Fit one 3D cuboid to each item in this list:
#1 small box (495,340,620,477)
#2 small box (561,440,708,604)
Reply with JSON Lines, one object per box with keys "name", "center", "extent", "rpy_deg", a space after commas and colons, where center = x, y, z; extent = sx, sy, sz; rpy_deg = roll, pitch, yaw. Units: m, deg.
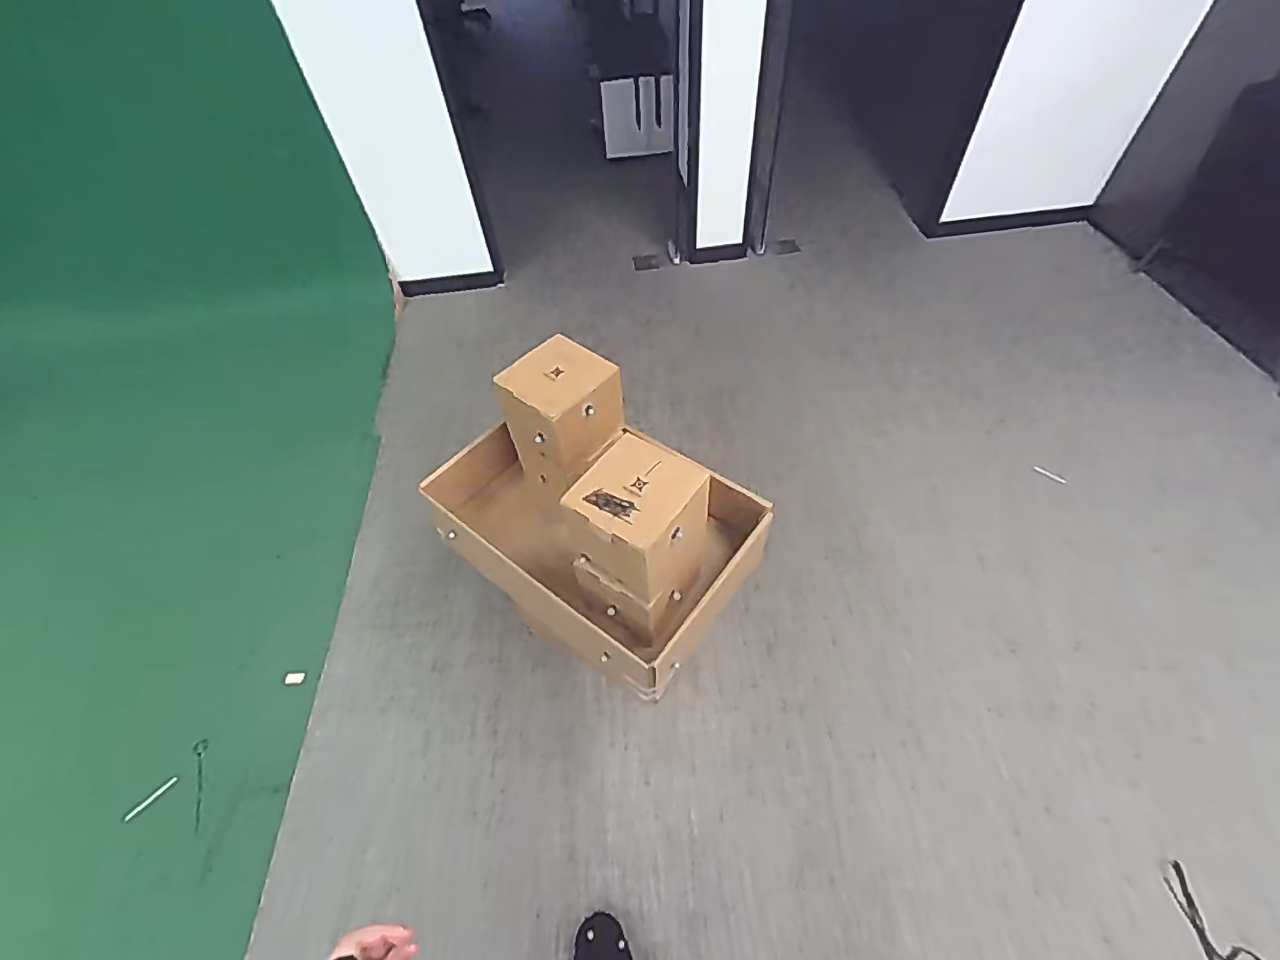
{"name": "small box", "center": [-0.152, -0.137, 1.067], "extent": [0.168, 0.176, 0.179], "rpy_deg": [35, 61, 25]}
{"name": "small box", "center": [-0.003, 0.073, 0.893], "extent": [0.168, 0.176, 0.179], "rpy_deg": [29, 58, 23]}
